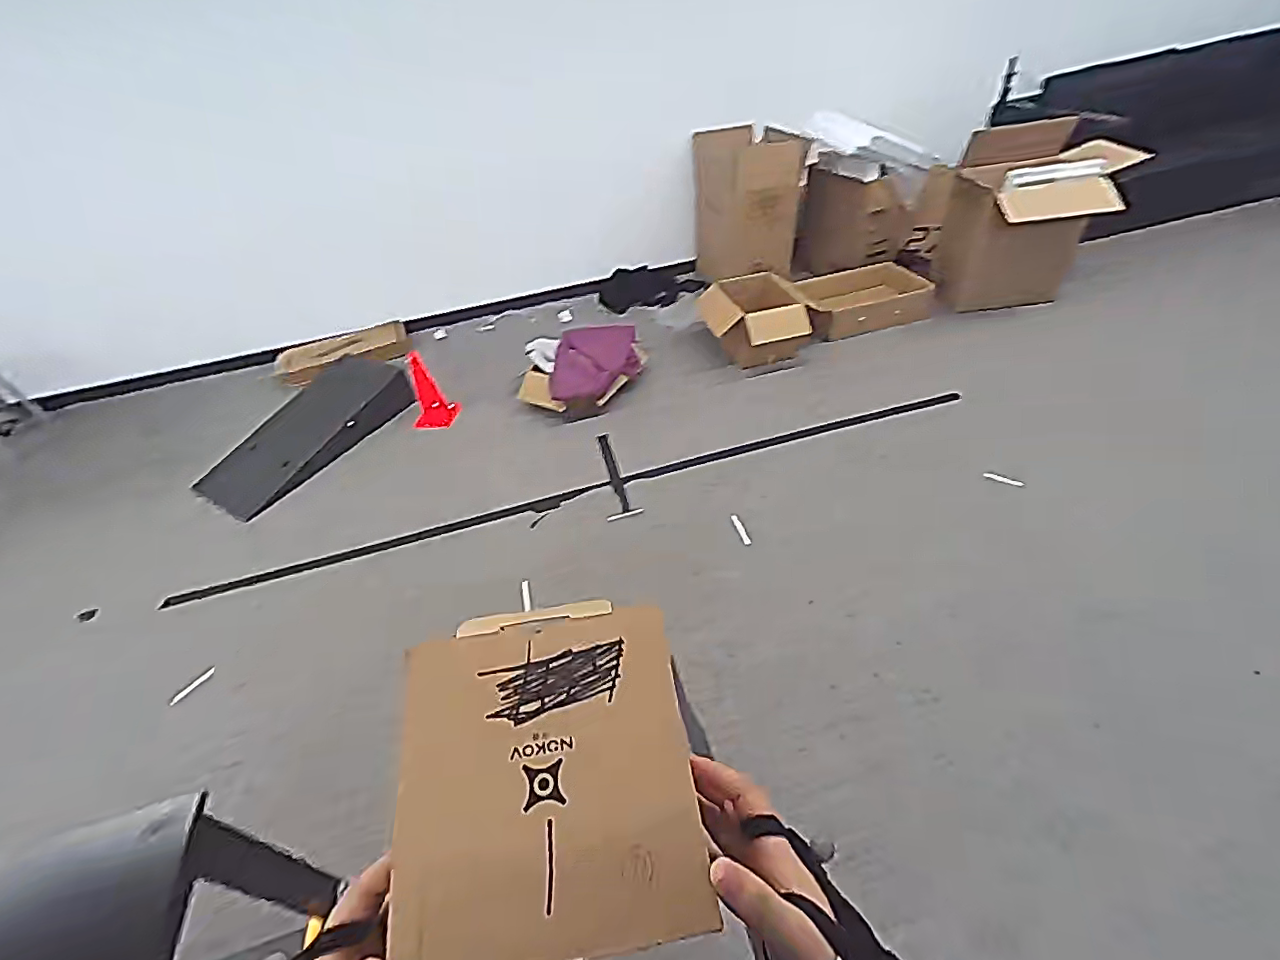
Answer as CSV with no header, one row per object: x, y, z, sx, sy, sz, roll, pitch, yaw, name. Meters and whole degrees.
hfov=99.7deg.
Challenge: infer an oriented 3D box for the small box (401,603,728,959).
-0.047,0.211,0.380,0.168,0.176,0.179,-8,54,-5,small box
